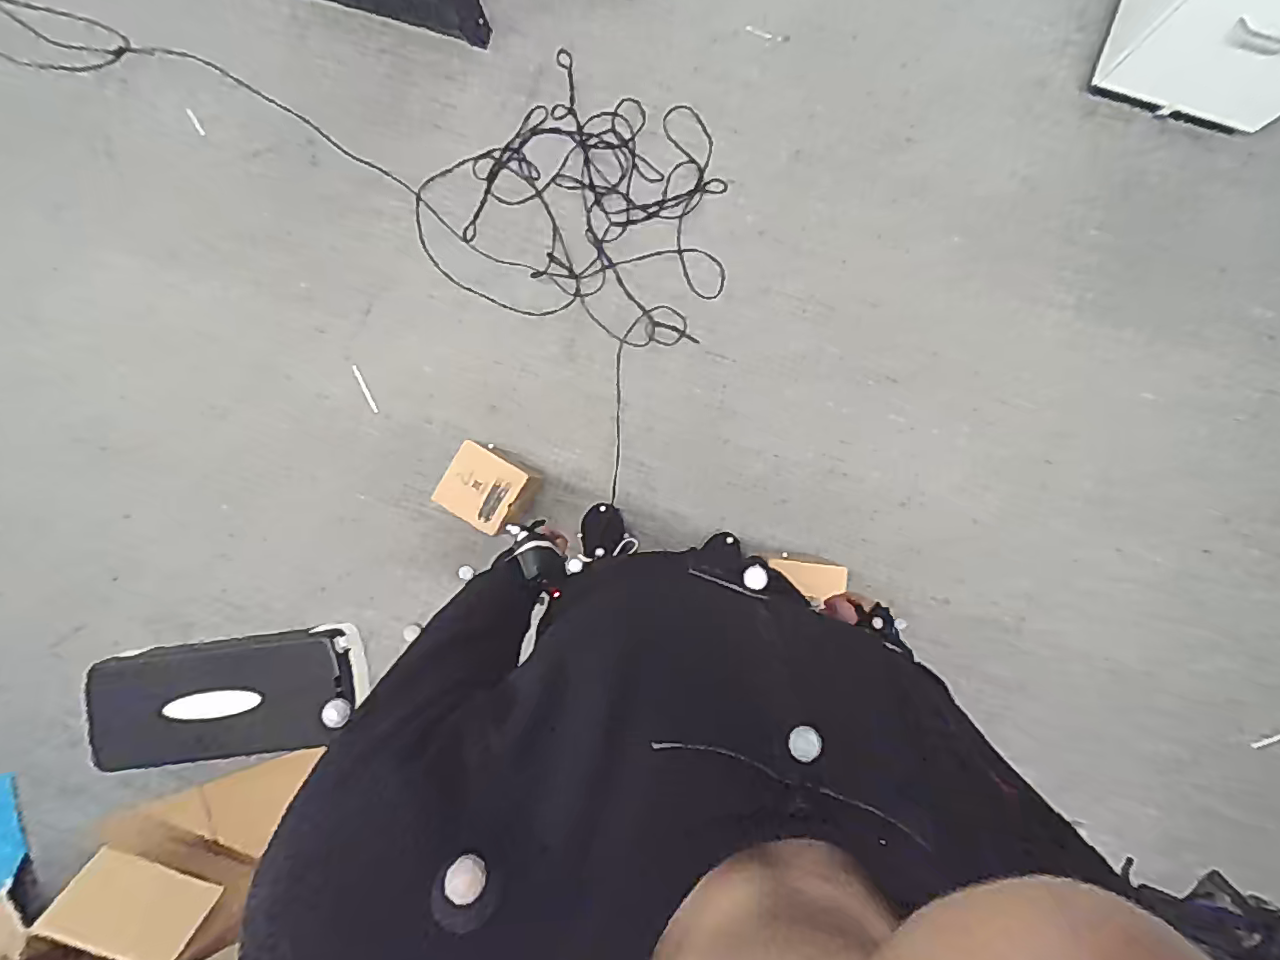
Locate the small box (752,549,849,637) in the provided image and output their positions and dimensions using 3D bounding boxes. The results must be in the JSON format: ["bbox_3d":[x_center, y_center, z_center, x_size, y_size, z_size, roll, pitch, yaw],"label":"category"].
[{"bbox_3d":[0.373,0.261,1.282,0.179,0.176,0.168,5,89,3],"label":"small box"}]
